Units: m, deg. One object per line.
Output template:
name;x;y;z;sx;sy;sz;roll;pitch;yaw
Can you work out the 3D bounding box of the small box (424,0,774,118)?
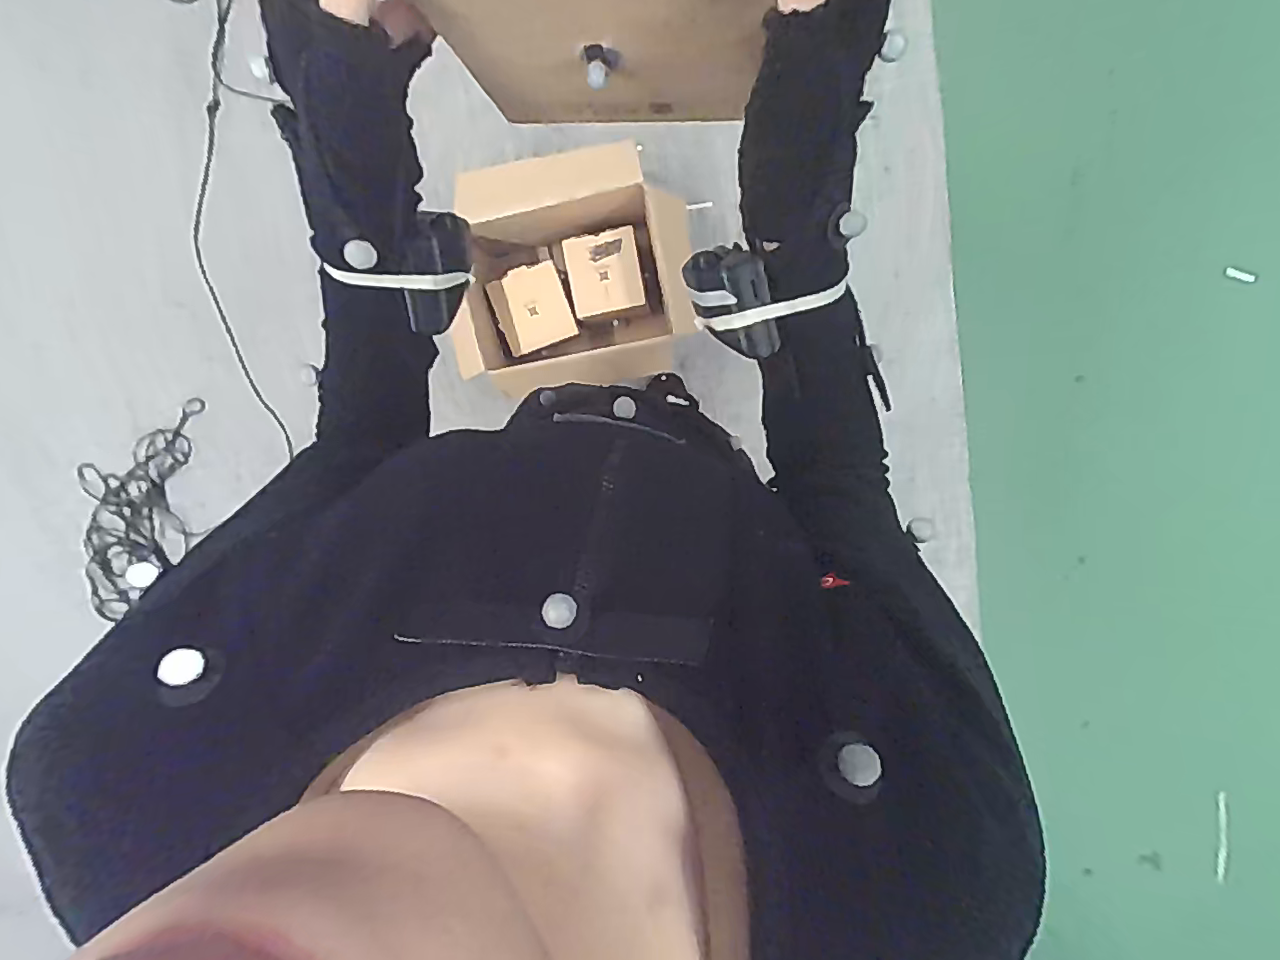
small box;-0.012;-0.306;0.265;0.168;0.176;0.179;3;101;5
